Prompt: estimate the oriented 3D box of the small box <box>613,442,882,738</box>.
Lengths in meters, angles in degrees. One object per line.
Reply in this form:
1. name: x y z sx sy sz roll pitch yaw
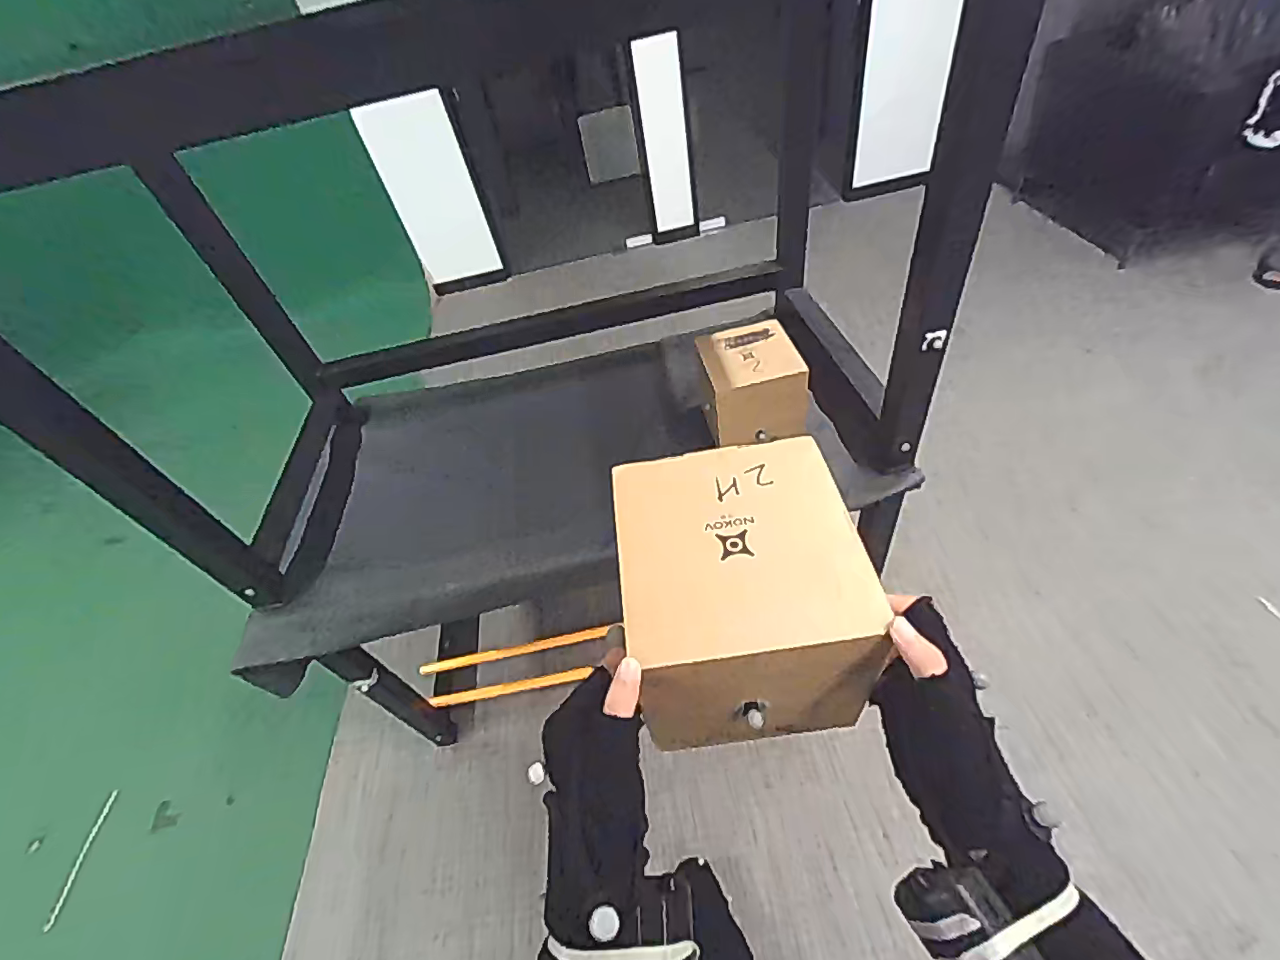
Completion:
1. small box: 0.075 0.097 0.450 0.168 0.176 0.179 -9 46 1
